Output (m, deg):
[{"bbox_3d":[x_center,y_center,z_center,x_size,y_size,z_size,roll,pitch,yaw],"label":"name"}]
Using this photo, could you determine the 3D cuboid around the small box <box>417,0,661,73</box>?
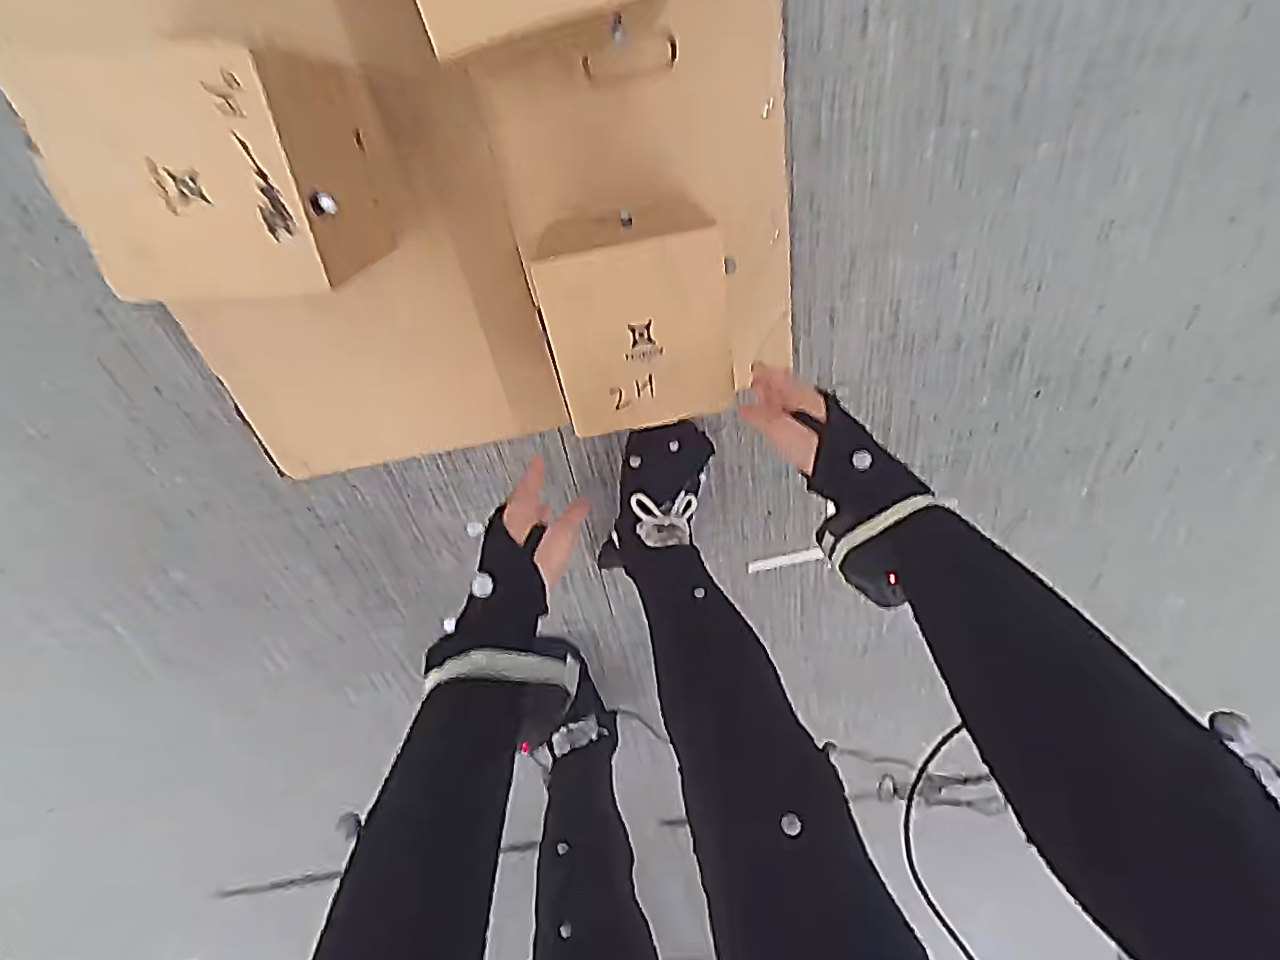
[{"bbox_3d":[-0.082,-0.419,0.388,0.179,0.176,0.168,-15,123,5],"label":"small box"}]

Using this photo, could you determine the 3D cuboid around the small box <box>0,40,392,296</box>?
[{"bbox_3d":[-0.347,-0.264,0.466,0.179,0.176,0.168,-3,125,-1],"label":"small box"}]

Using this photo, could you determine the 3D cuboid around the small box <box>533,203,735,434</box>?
[{"bbox_3d":[-0.004,-0.174,0.559,0.168,0.176,0.179,-10,125,3],"label":"small box"}]
